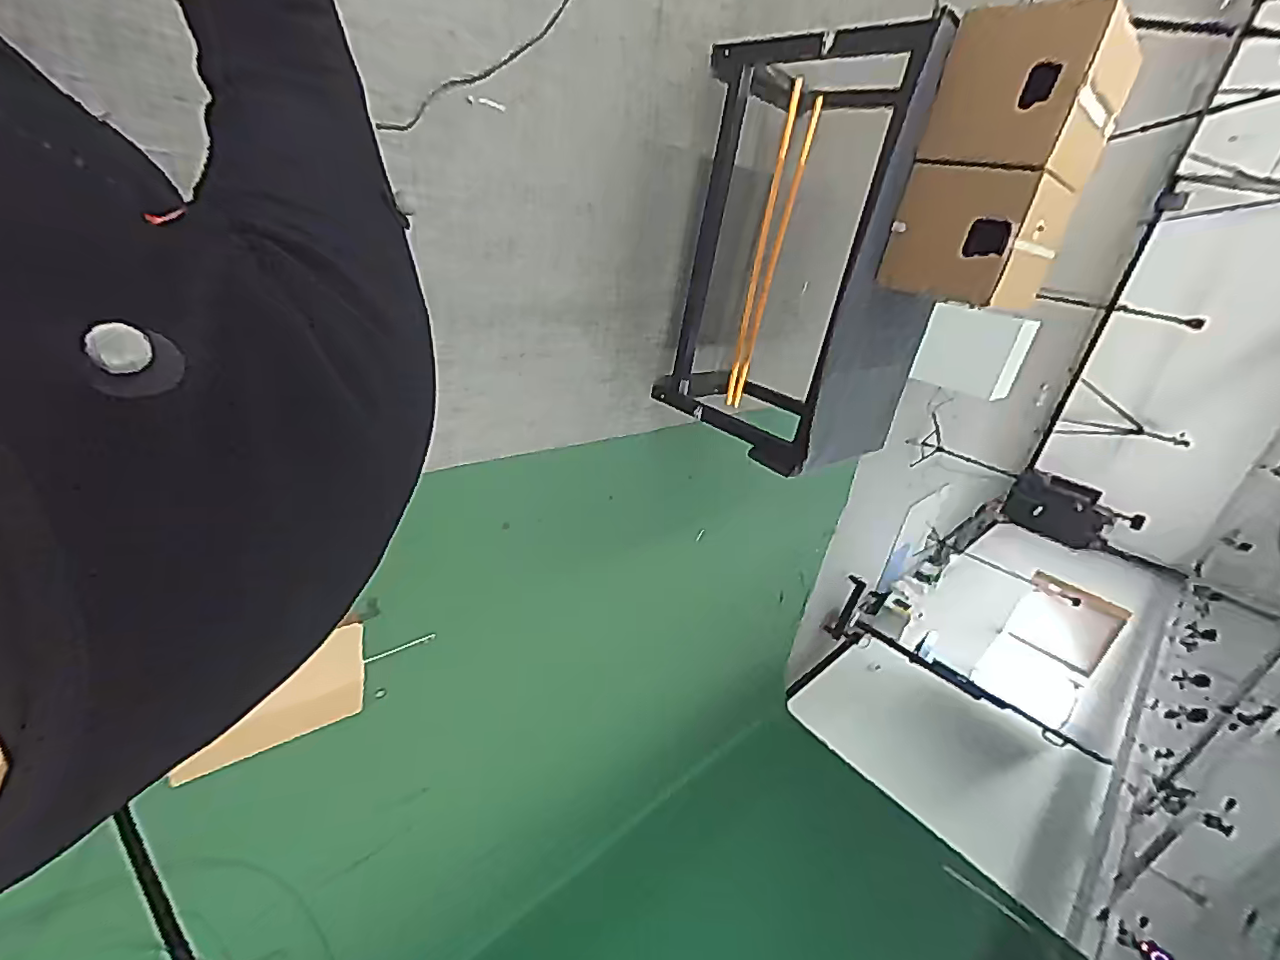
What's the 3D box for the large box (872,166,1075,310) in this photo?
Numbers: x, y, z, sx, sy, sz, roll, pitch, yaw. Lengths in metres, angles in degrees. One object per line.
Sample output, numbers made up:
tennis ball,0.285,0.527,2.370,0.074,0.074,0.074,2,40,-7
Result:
large box,0.928,-0.670,1.518,0.408,0.320,0.320,-14,124,-40
